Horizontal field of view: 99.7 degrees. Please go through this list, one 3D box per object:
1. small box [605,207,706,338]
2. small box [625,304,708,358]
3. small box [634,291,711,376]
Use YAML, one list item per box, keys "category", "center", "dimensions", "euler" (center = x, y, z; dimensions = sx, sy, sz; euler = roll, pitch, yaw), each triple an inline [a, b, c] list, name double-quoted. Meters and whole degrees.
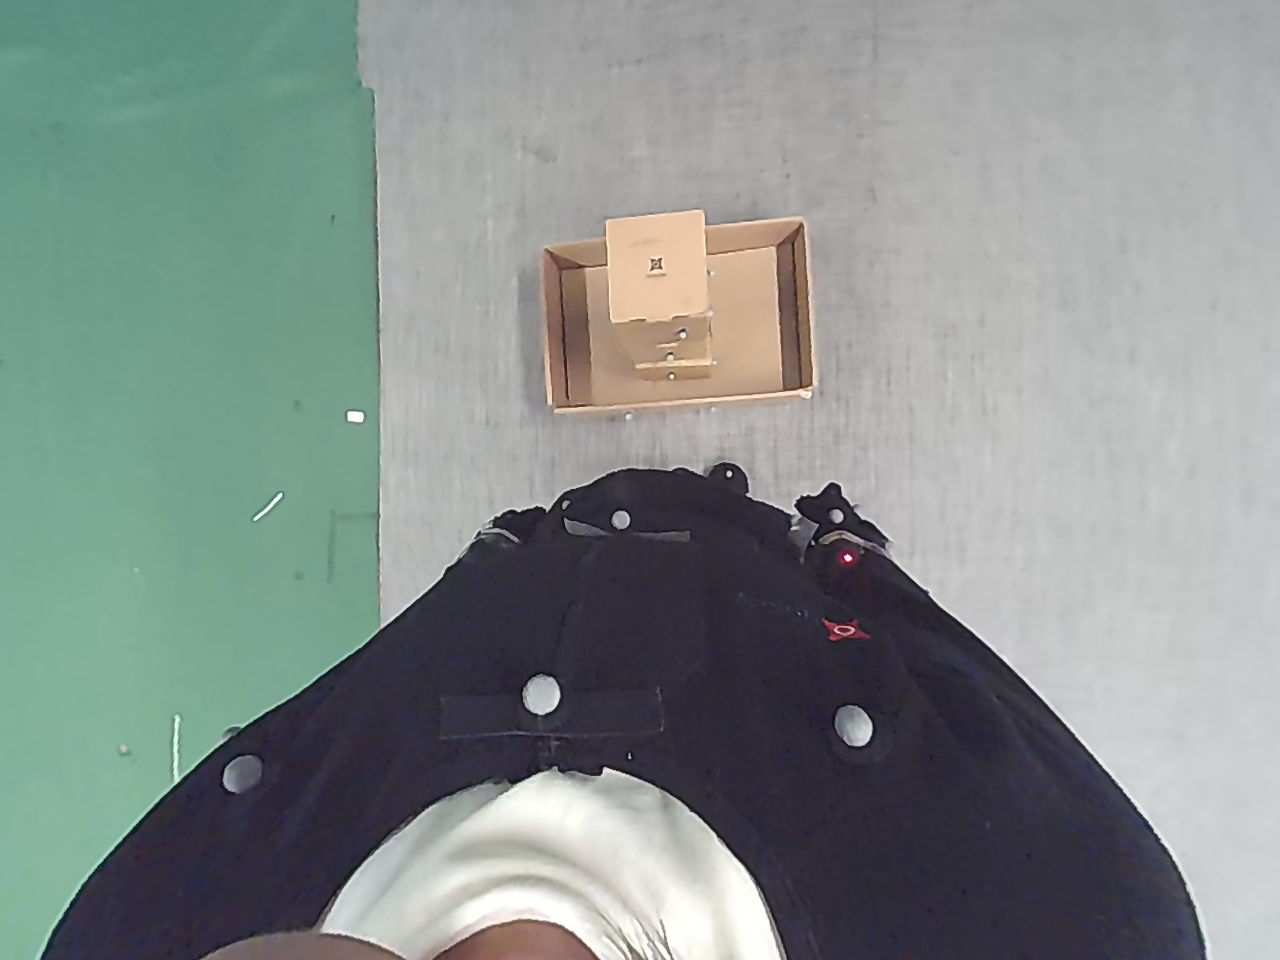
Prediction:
- category: "small box"
  center: [0.034, -0.361, 0.976]
  dimensions: [0.168, 0.176, 0.179]
  euler: [-3, 89, 6]
- category: "small box"
  center: [0.057, -0.365, 1.157]
  dimensions: [0.168, 0.176, 0.179]
  euler: [-5, 89, 8]
- category: "small box"
  center: [0.084, -0.350, 1.314]
  dimensions: [0.179, 0.176, 0.168]
  euler: [0, 90, 8]
